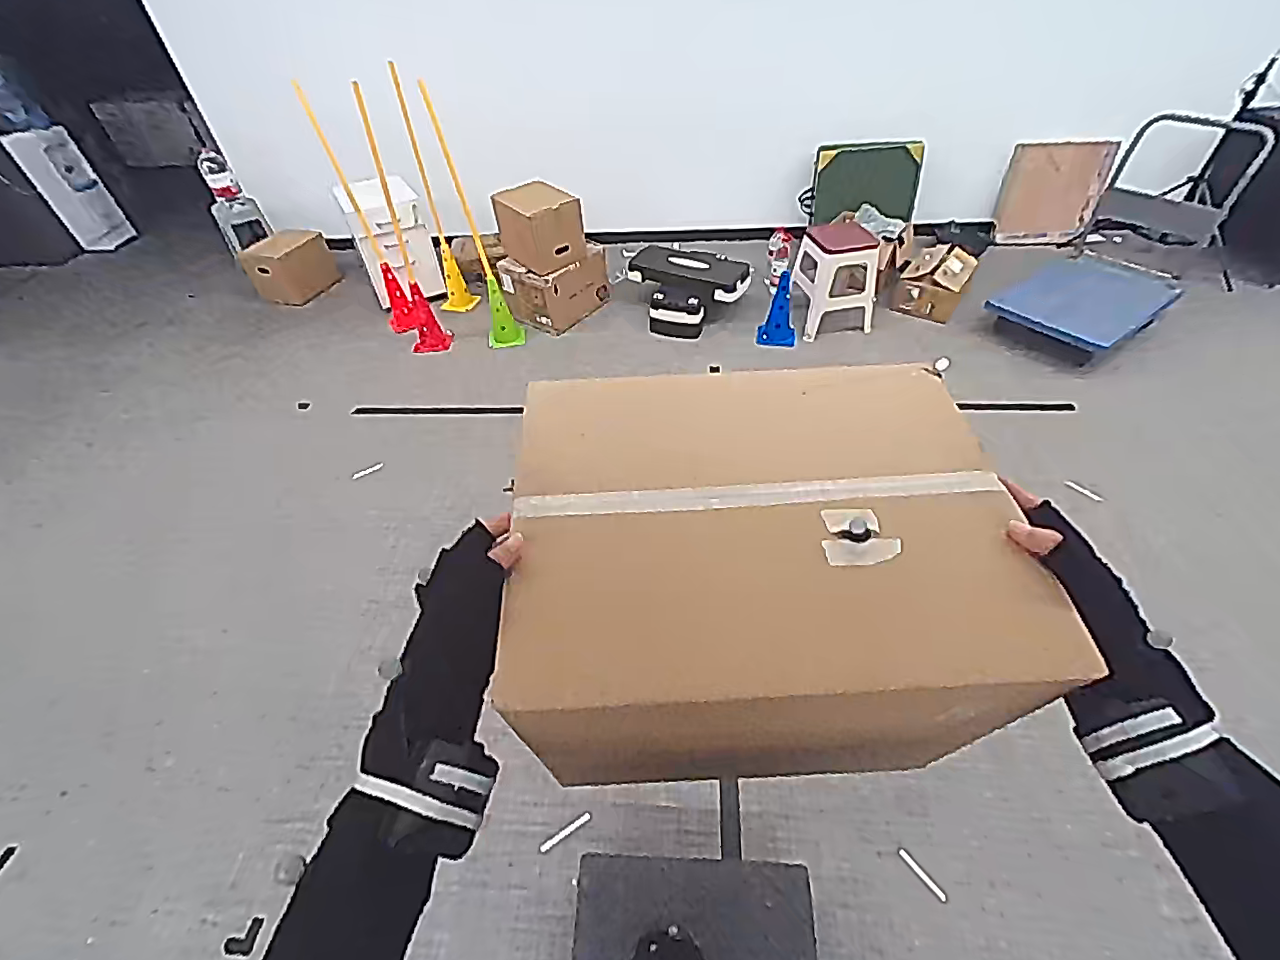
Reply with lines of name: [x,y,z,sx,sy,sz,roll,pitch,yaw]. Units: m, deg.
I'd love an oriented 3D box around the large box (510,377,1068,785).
large box: [0.099,0.116,0.583,0.408,0.320,0.320,-3,52,-1]
